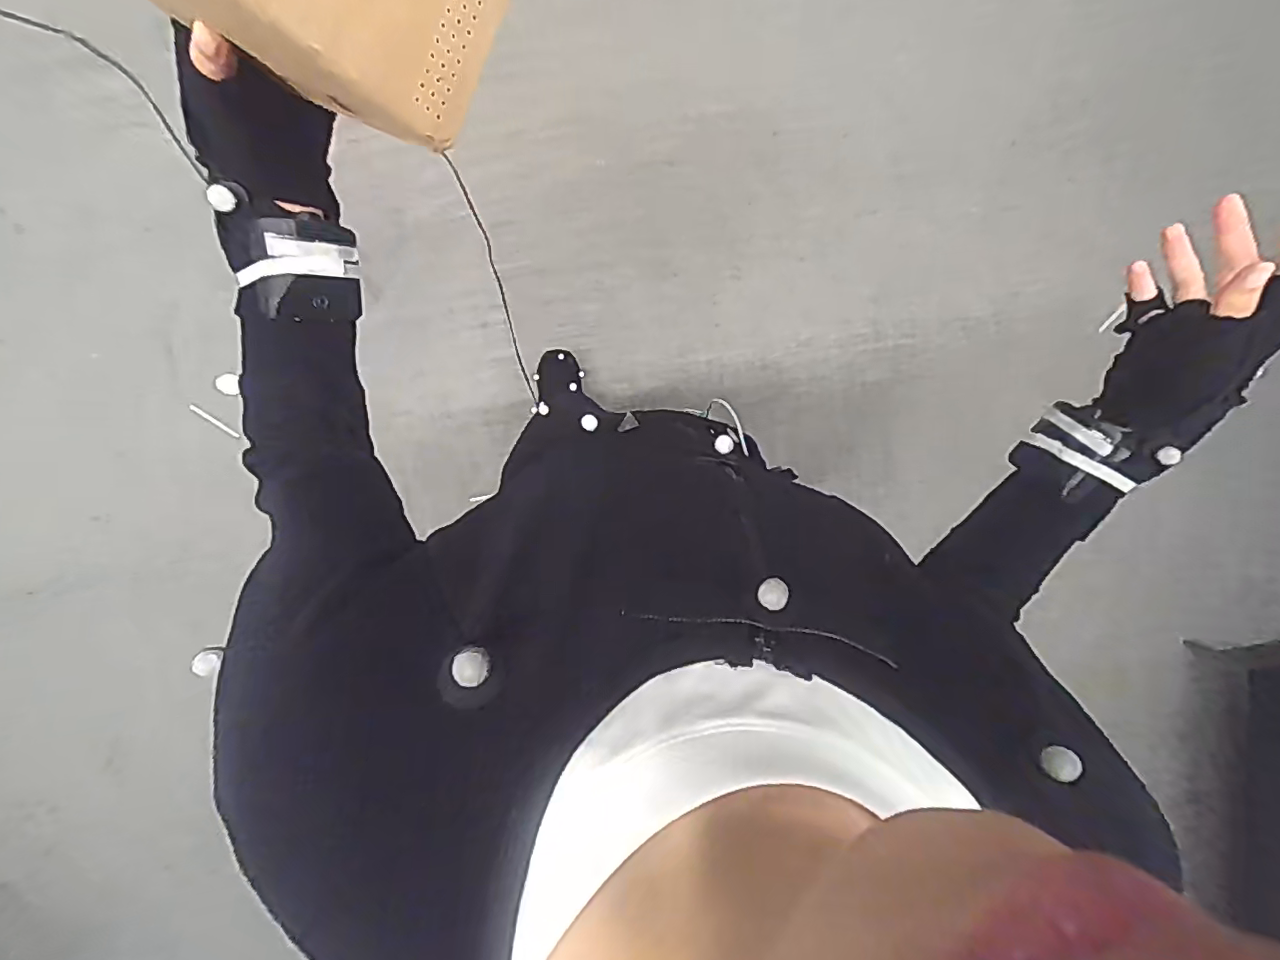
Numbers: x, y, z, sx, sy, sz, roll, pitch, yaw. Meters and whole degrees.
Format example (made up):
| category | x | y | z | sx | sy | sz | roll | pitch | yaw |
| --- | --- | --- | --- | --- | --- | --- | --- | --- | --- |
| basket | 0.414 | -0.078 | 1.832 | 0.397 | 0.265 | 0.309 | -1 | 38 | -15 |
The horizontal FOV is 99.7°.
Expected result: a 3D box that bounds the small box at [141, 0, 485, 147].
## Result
| category | x | y | z | sx | sy | sz | roll | pitch | yaw |
| --- | --- | --- | --- | --- | --- | --- | --- | --- | --- |
| small box | -0.156 | -0.271 | 0.196 | 0.168 | 0.176 | 0.179 | 32 | 103 | 20 |
